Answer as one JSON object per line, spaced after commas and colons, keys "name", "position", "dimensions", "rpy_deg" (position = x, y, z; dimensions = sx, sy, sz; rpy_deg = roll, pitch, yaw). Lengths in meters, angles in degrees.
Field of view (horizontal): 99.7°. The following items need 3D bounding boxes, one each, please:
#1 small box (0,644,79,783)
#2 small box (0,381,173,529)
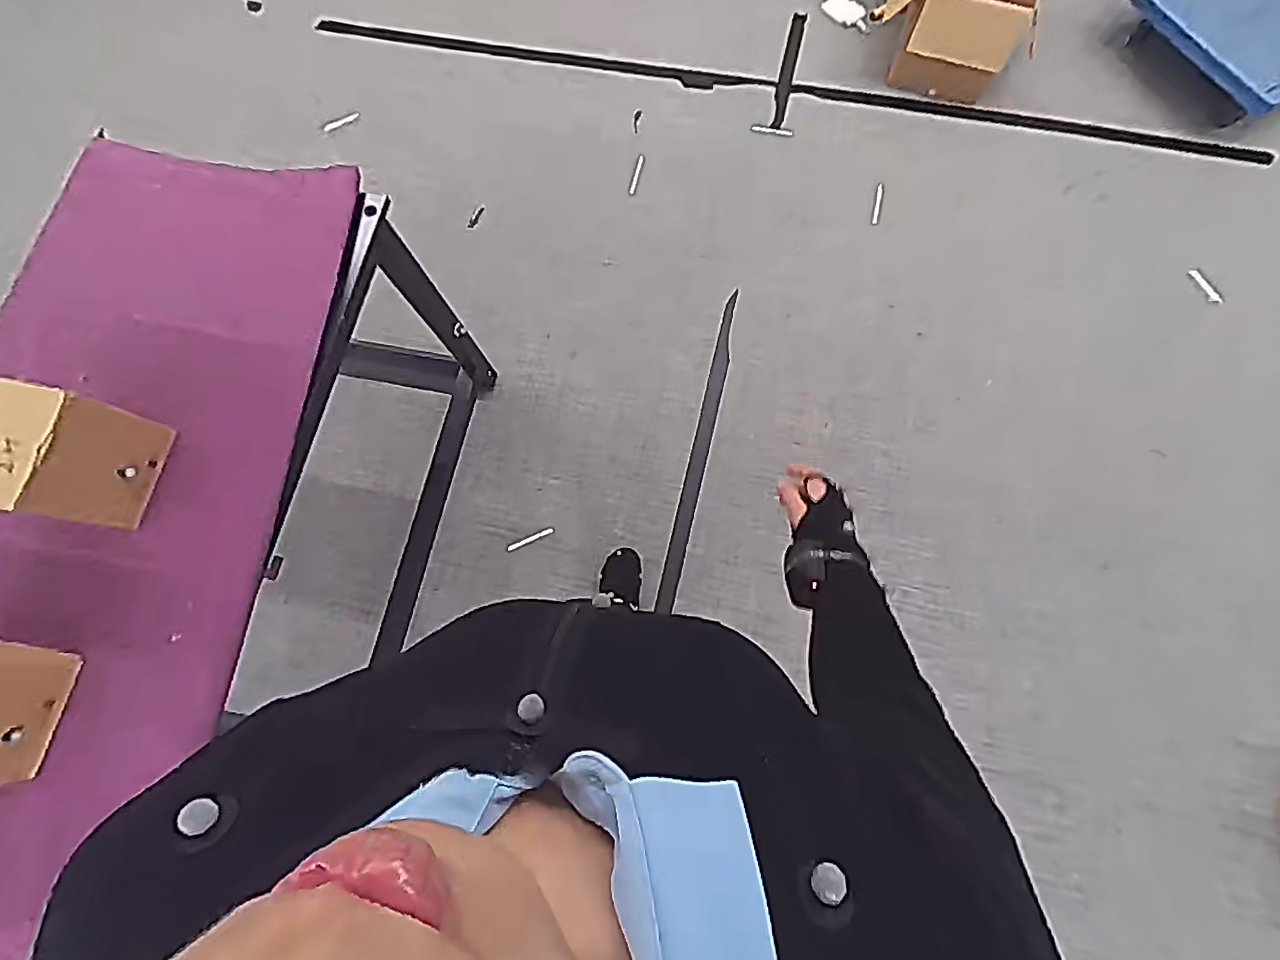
{"name": "small box", "position": [-0.914, 0.307, 0.697], "dimensions": [0.179, 0.176, 0.168], "rpy_deg": [10, 76, 3]}
{"name": "small box", "position": [-0.846, -0.031, 0.777], "dimensions": [0.179, 0.176, 0.168], "rpy_deg": [11, 77, 4]}
